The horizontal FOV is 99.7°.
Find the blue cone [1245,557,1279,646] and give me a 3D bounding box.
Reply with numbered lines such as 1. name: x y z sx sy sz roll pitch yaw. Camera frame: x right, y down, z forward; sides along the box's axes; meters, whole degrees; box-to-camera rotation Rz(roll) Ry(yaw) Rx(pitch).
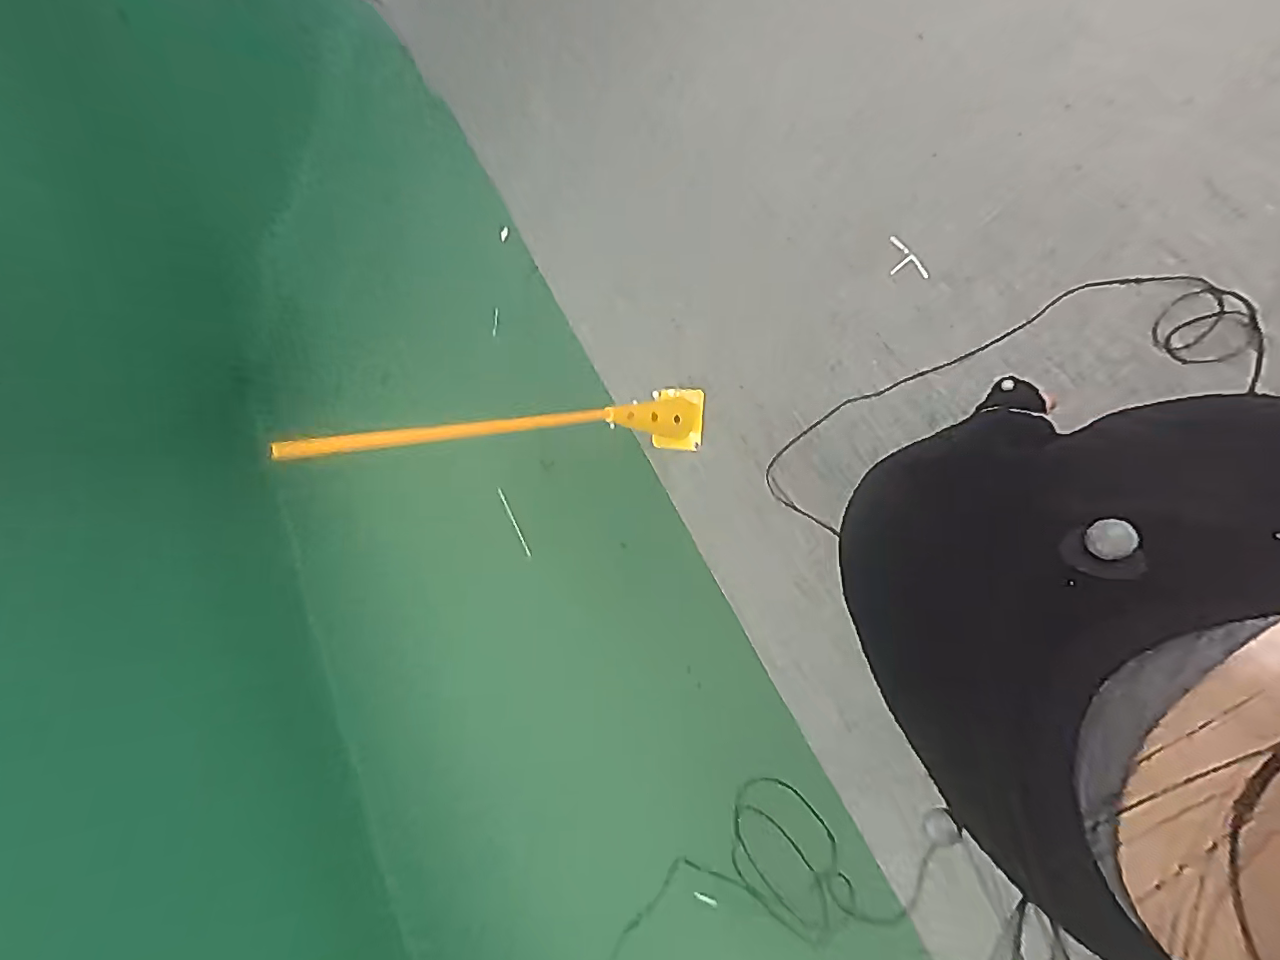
1. blue cone: 1.143 0.242 0.832 0.193 0.380 0.192 18 103 34
